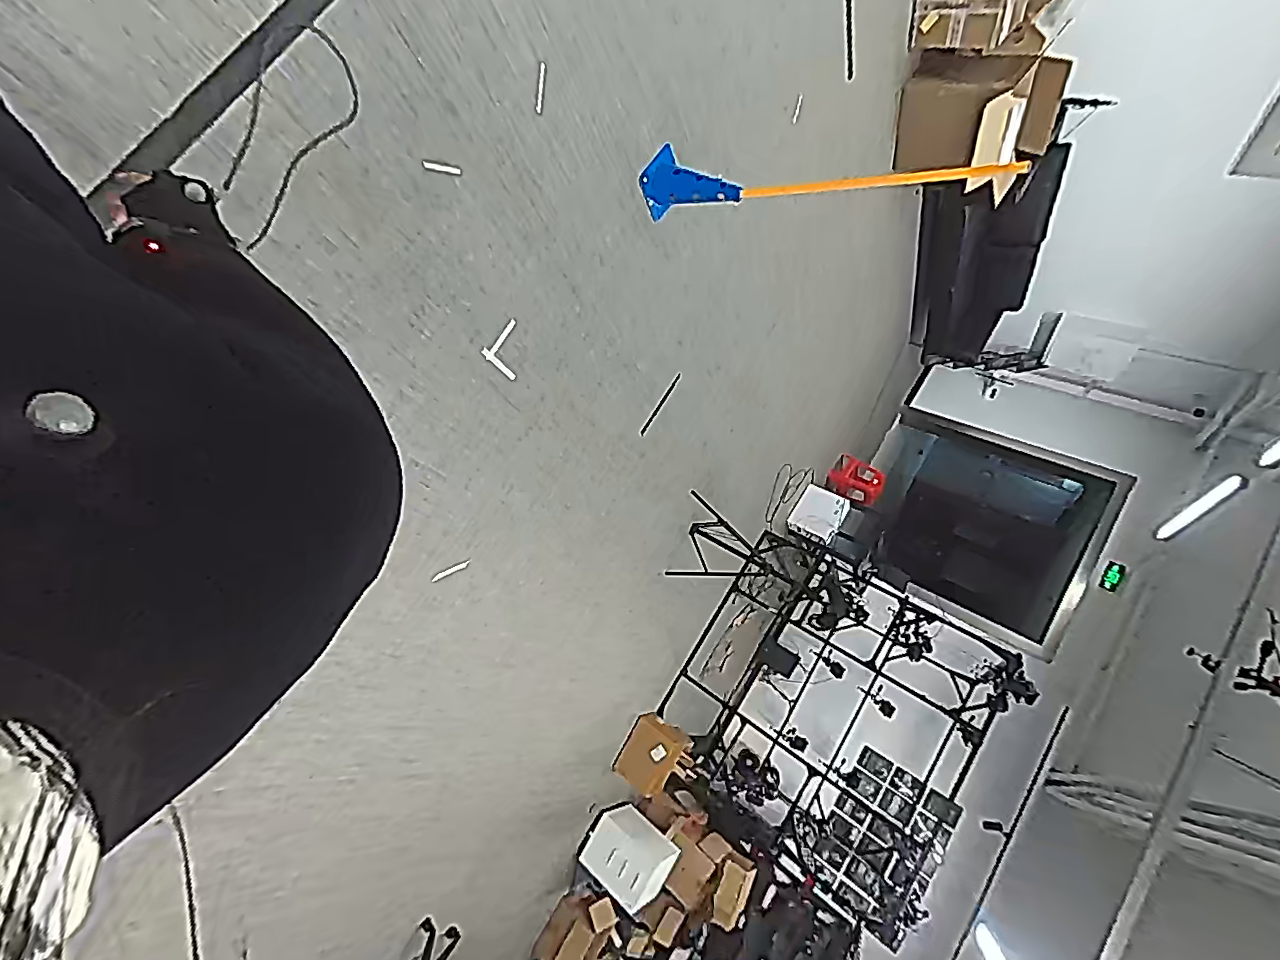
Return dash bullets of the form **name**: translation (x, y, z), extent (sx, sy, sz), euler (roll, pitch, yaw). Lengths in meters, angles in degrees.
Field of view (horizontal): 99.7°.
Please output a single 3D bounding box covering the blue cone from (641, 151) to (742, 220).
- **blue cone**: translation (0.205, -1.048, 1.961), extent (0.192, 0.380, 0.193), euler (-54, 148, -13)
